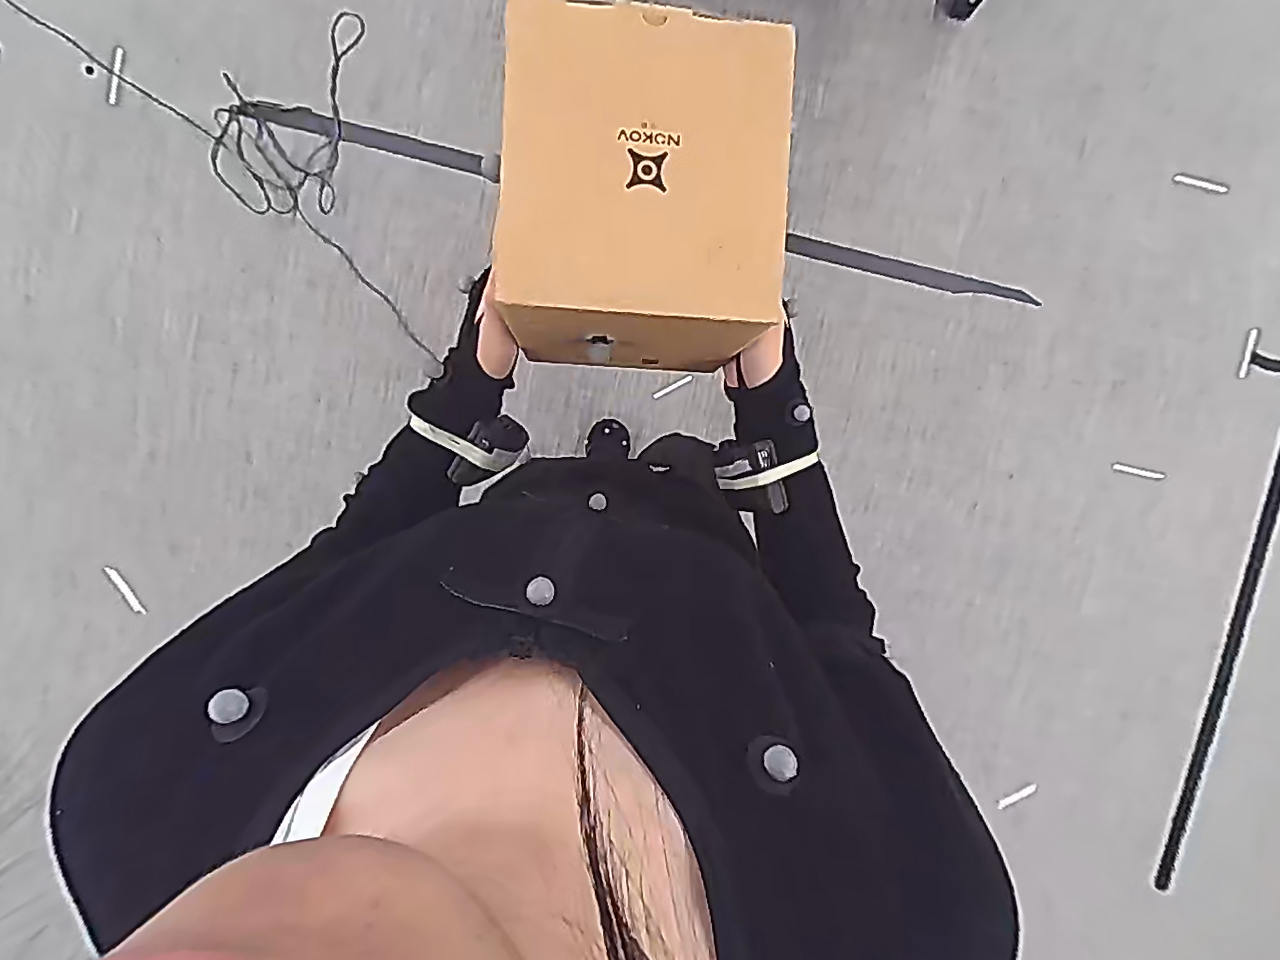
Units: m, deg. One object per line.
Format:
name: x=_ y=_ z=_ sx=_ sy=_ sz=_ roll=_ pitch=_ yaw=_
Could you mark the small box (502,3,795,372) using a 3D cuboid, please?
small box: x=0.000 y=-0.181 z=0.394 sx=0.168 sy=0.176 sz=0.179 roll=3 pitch=89 yaw=-5
